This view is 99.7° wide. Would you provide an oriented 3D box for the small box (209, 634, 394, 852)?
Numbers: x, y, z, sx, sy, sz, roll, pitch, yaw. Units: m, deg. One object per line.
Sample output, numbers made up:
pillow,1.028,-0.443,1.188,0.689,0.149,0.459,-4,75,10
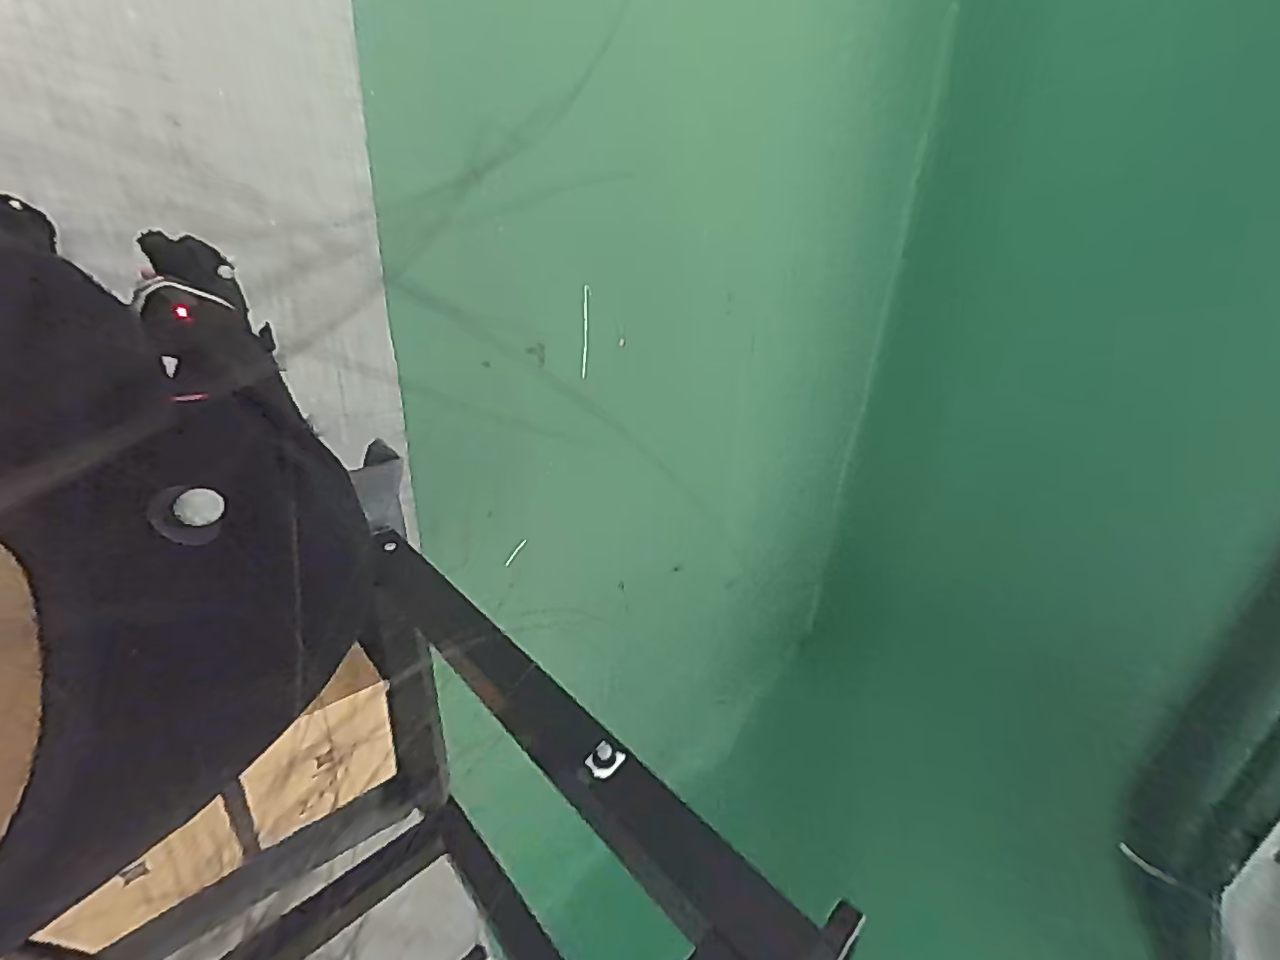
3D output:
small box,-0.455,0.335,0.732,0.168,0.176,0.179,-16,121,-41
